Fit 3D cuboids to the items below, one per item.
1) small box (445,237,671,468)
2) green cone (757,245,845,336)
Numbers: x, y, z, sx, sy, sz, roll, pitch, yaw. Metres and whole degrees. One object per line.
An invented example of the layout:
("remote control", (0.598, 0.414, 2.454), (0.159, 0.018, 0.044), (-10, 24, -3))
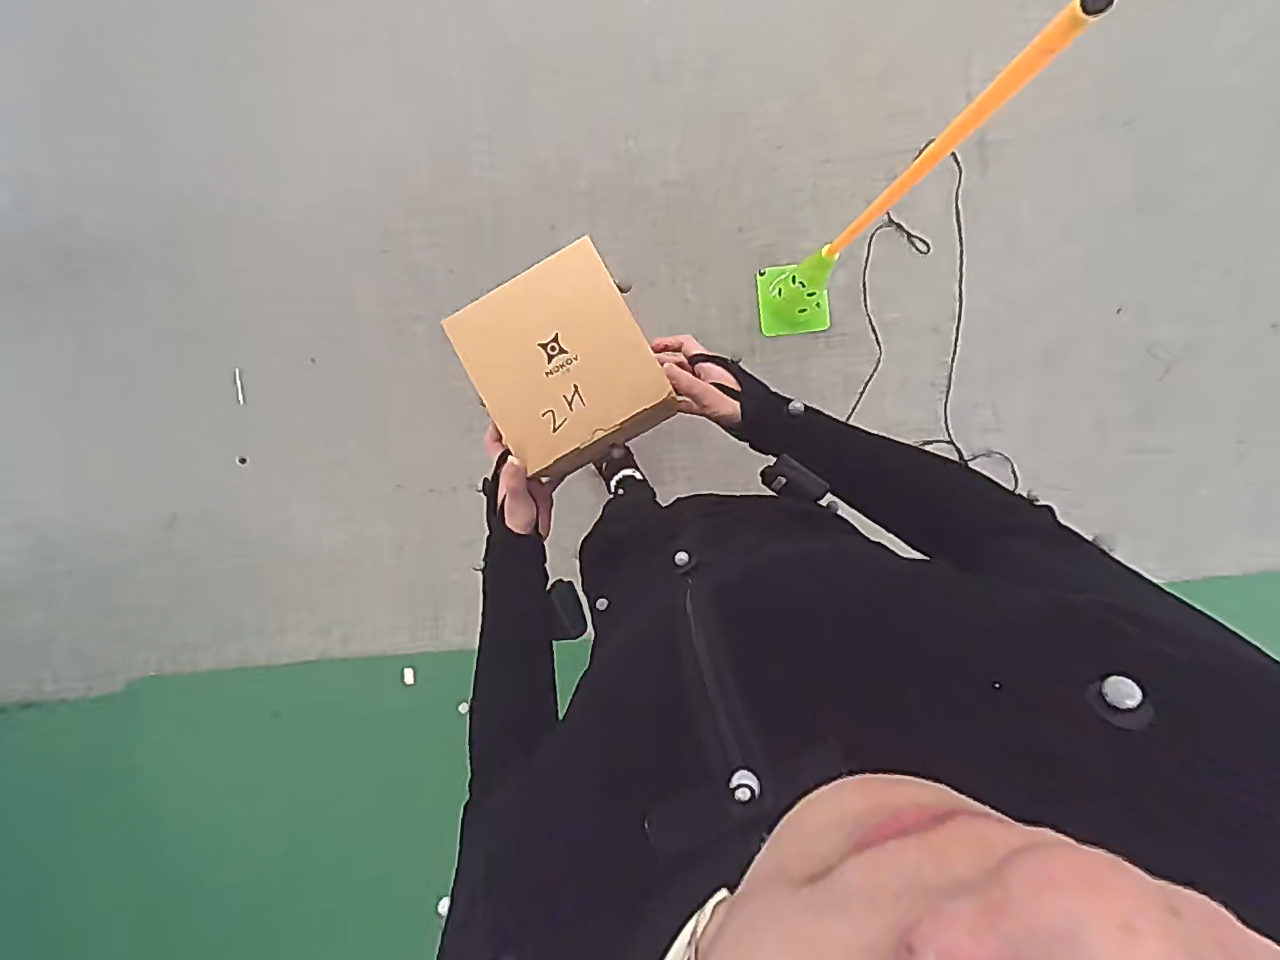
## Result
("small box", (-0.077, -0.122, 0.599), (0.168, 0.176, 0.179), (-28, 89, 4))
("green cone", (0.449, -0.523, 1.420), (0.202, 0.368, 0.200), (-6, 92, 1))
